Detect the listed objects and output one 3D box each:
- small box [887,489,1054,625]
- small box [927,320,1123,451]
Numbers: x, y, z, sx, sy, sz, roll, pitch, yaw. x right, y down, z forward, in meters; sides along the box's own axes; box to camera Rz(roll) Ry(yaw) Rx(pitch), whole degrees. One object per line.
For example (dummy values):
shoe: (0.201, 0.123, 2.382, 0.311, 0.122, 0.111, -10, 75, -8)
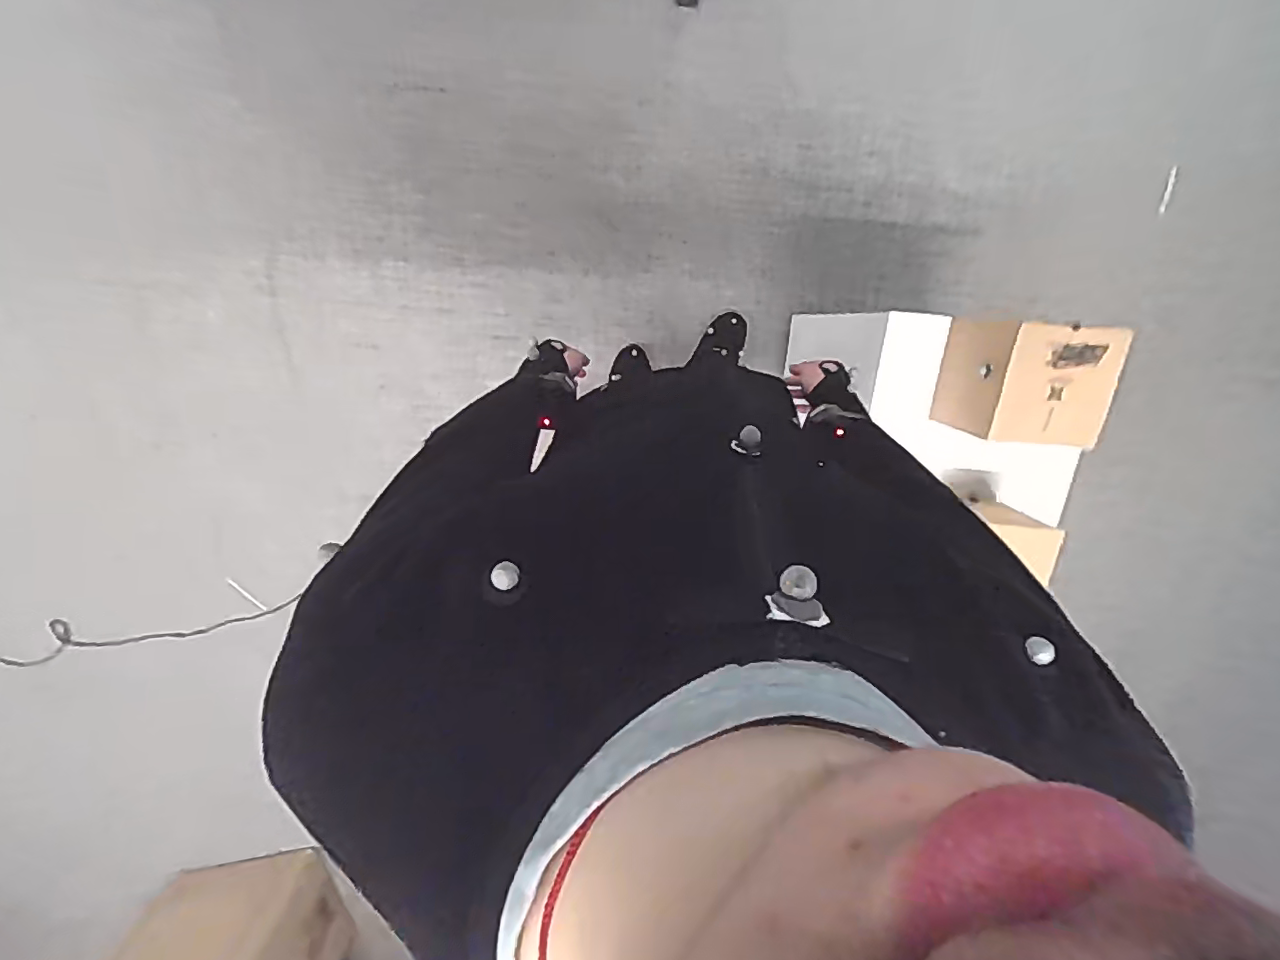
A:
small box: (0.560, 0.129, 0.945, 0.168, 0.176, 0.179, 5, 106, -5)
small box: (0.589, -0.156, 0.855, 0.168, 0.176, 0.179, 4, 109, -4)
